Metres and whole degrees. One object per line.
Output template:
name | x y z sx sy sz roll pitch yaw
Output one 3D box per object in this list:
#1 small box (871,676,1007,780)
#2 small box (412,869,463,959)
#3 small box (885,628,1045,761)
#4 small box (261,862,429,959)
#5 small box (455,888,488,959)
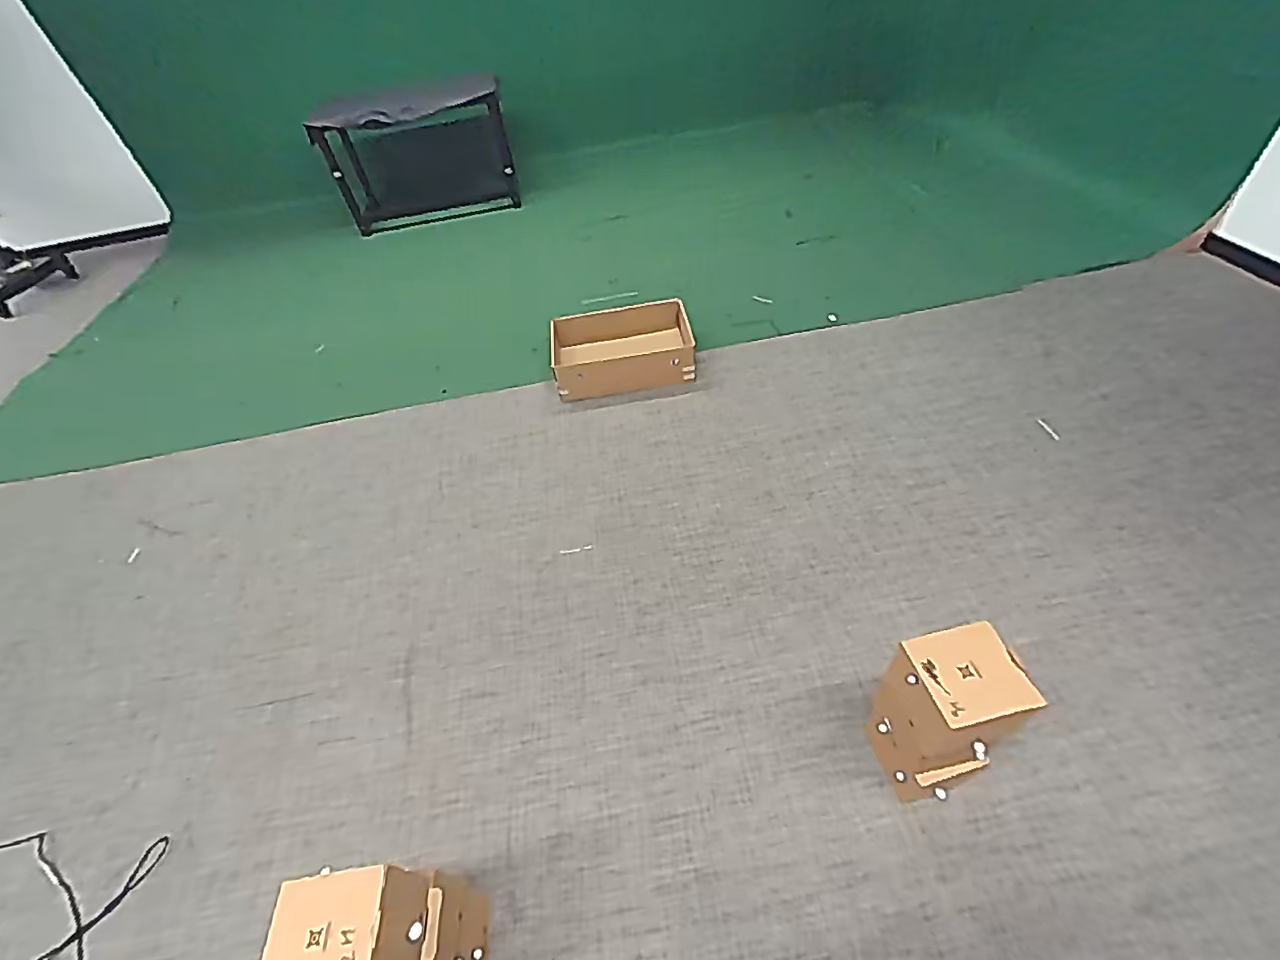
small box | 0.620 0.511 1.146 0.179 0.176 0.168 -13 46 -2
small box | -0.444 0.837 0.995 0.179 0.176 0.168 -10 46 1
small box | 0.598 0.407 1.022 0.179 0.176 0.168 -12 46 -3
small box | -0.468 0.736 0.866 0.179 0.176 0.168 -10 47 1
small box | -0.423 0.956 1.107 0.179 0.176 0.168 -10 47 0
